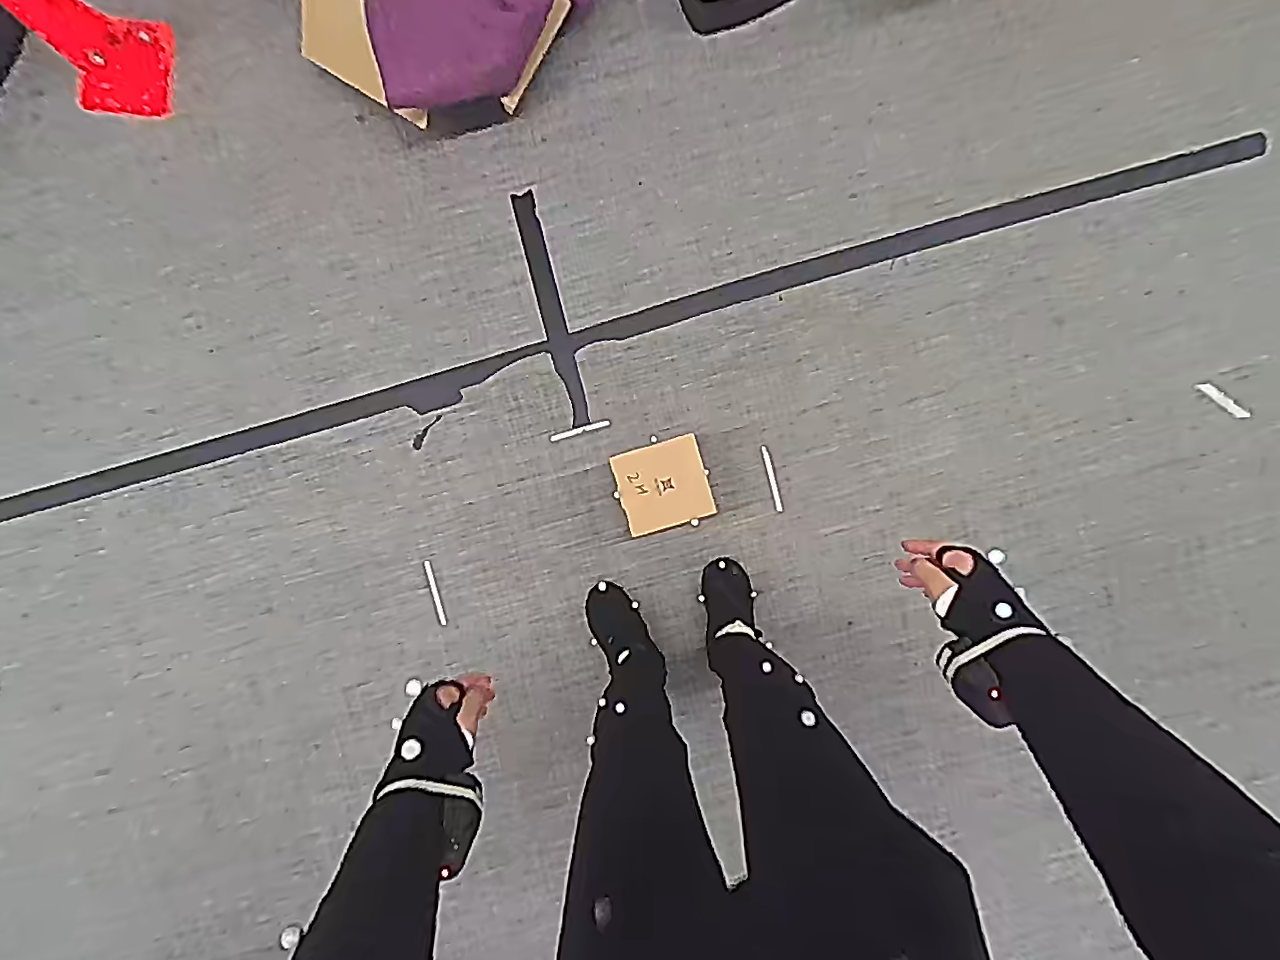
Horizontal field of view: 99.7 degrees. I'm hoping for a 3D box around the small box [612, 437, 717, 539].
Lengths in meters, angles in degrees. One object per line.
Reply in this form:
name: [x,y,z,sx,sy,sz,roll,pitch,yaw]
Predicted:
small box: [0.046,0.011,1.131,0.179,0.176,0.168,-16,93,1]
